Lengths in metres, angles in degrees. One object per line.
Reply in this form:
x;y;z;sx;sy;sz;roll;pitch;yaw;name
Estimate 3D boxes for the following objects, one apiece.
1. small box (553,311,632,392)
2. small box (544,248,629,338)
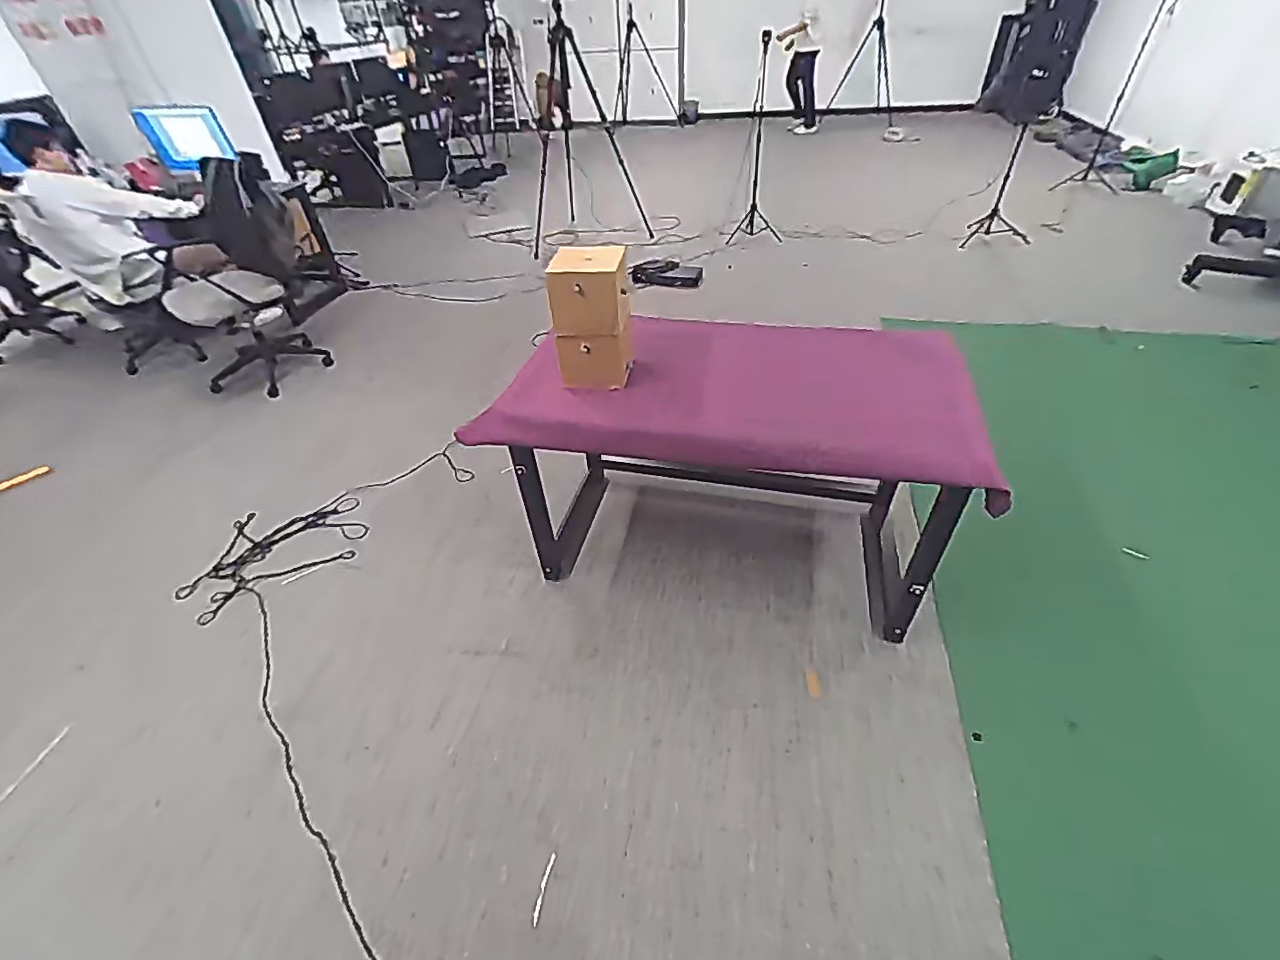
-0.123;-0.355;1.485;0.179;0.176;0.168;4;43;9;small box
-0.128;-0.472;1.374;0.179;0.176;0.168;2;43;8;small box
